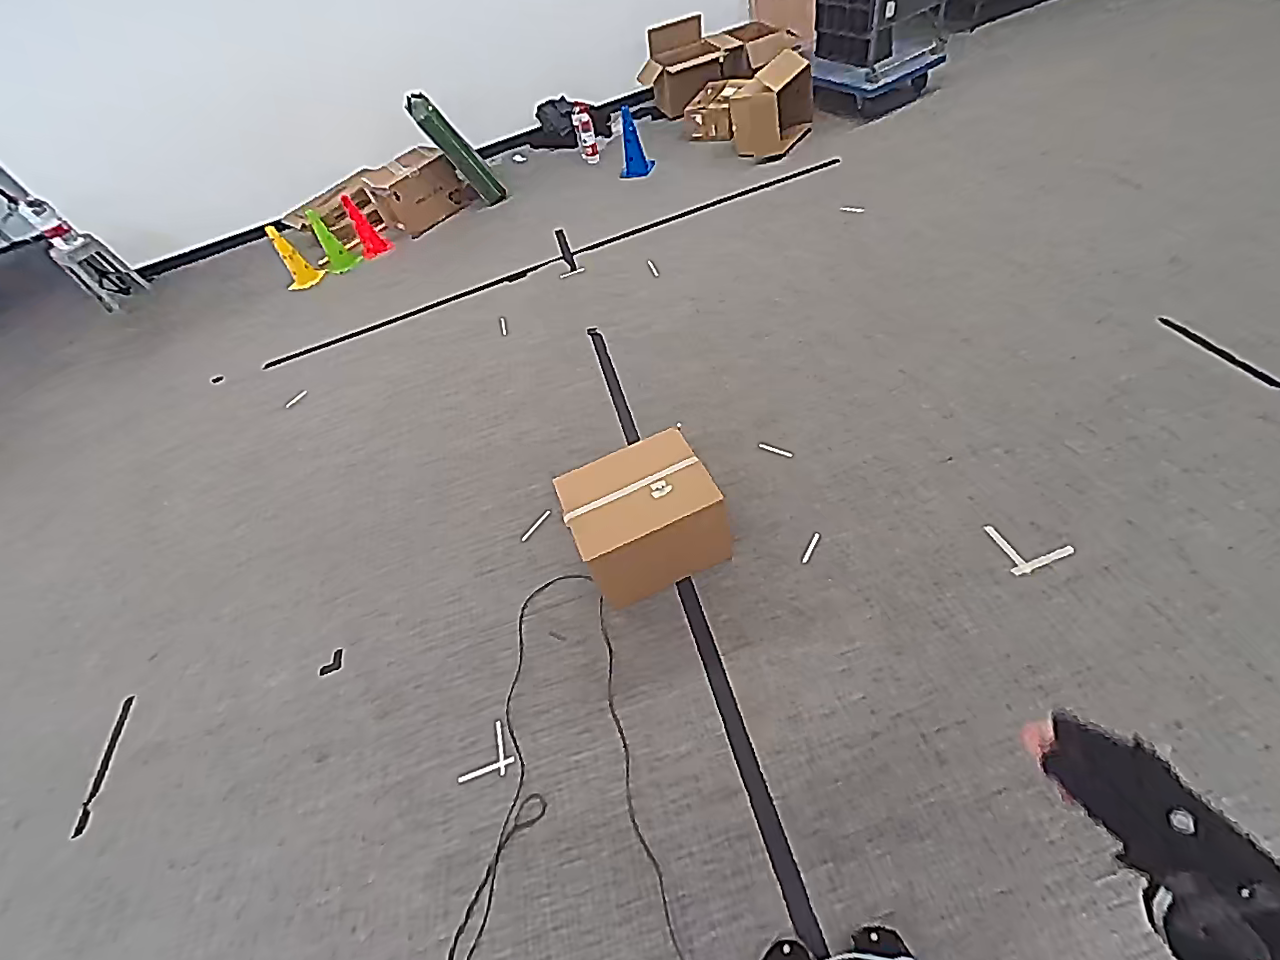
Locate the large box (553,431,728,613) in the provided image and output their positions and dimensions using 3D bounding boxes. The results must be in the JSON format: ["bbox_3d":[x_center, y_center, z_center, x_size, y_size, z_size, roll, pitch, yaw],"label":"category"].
[{"bbox_3d":[0.009,0.127,1.606,0.408,0.320,0.320,-24,51,-5],"label":"large box"}]
